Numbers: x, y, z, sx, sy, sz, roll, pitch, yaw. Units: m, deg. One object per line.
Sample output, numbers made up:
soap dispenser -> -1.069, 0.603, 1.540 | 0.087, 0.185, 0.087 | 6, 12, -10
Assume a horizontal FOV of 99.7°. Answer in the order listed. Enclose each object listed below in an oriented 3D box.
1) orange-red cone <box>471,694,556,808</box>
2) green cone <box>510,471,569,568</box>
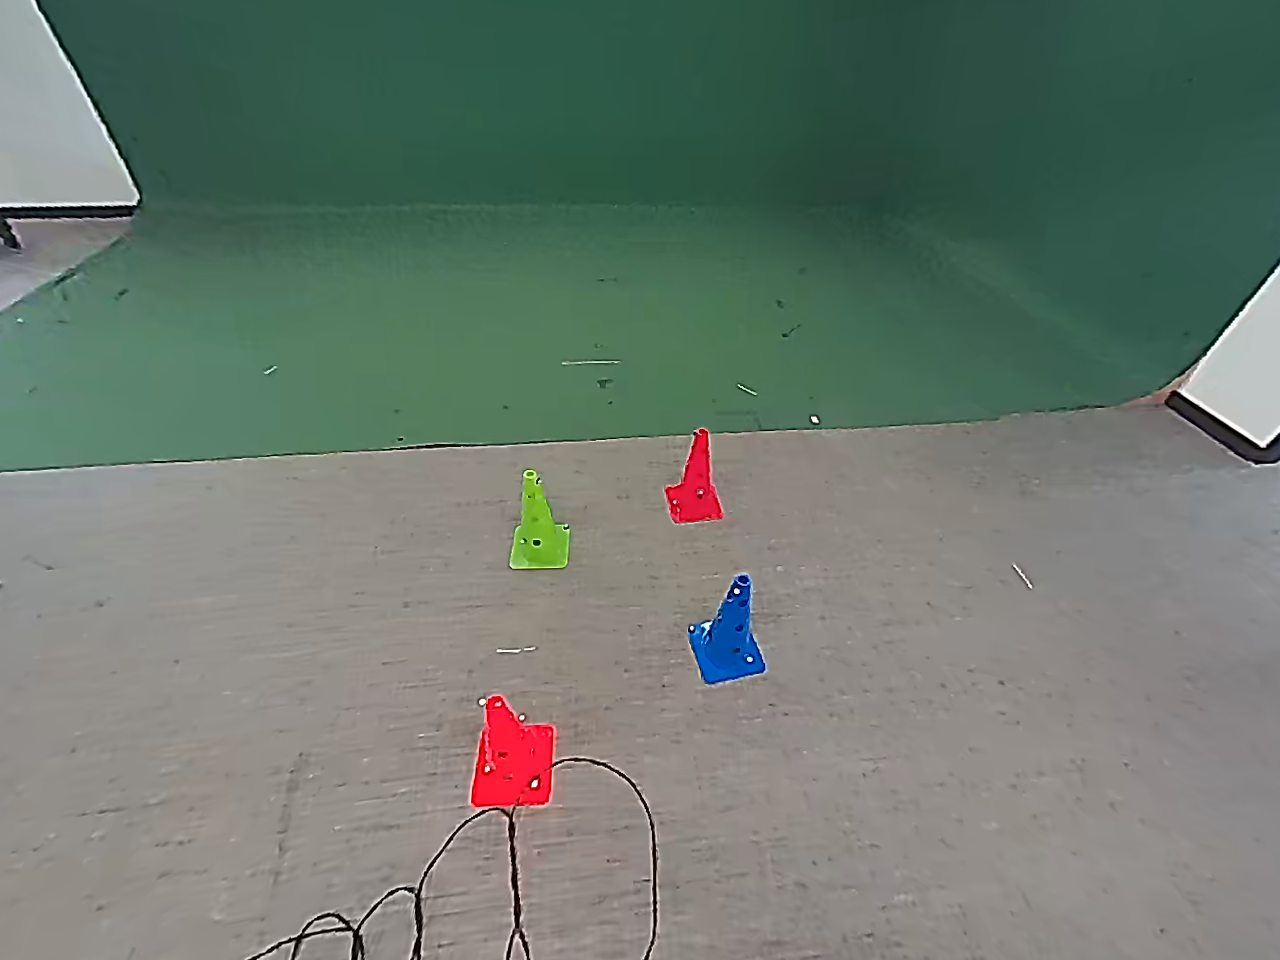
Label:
orange-red cone -> -0.316, 0.610, 1.285 | 0.198, 0.360, 0.199 | 1, 41, -3
green cone -> -0.353, 0.110, 1.818 | 0.200, 0.368, 0.202 | -2, 44, -4
